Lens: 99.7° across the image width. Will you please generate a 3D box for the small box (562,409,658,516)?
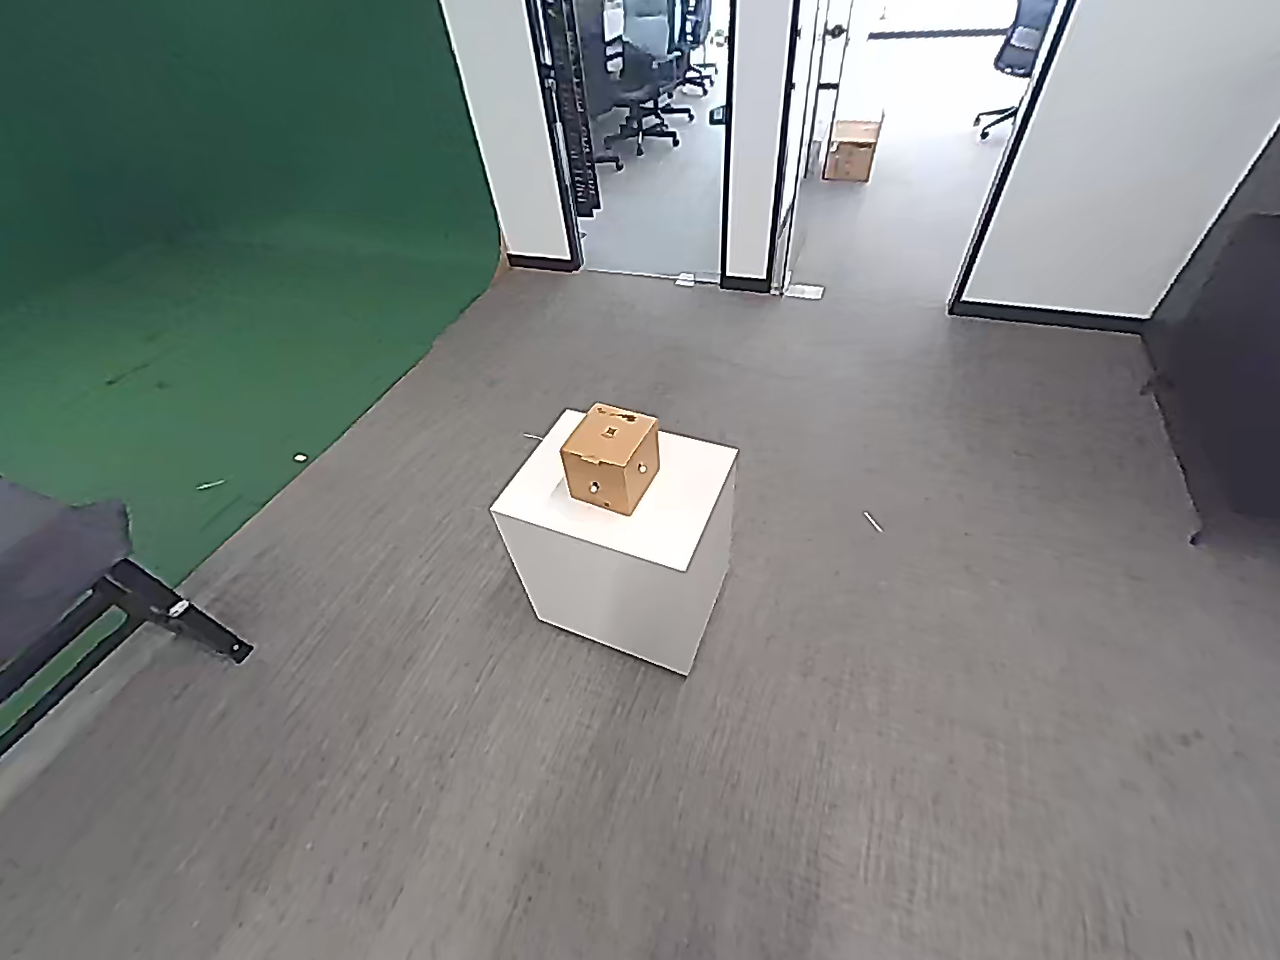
[{"bbox_3d":[-0.062,-0.040,1.288,0.168,0.176,0.179,15,50,19],"label":"small box"}]
